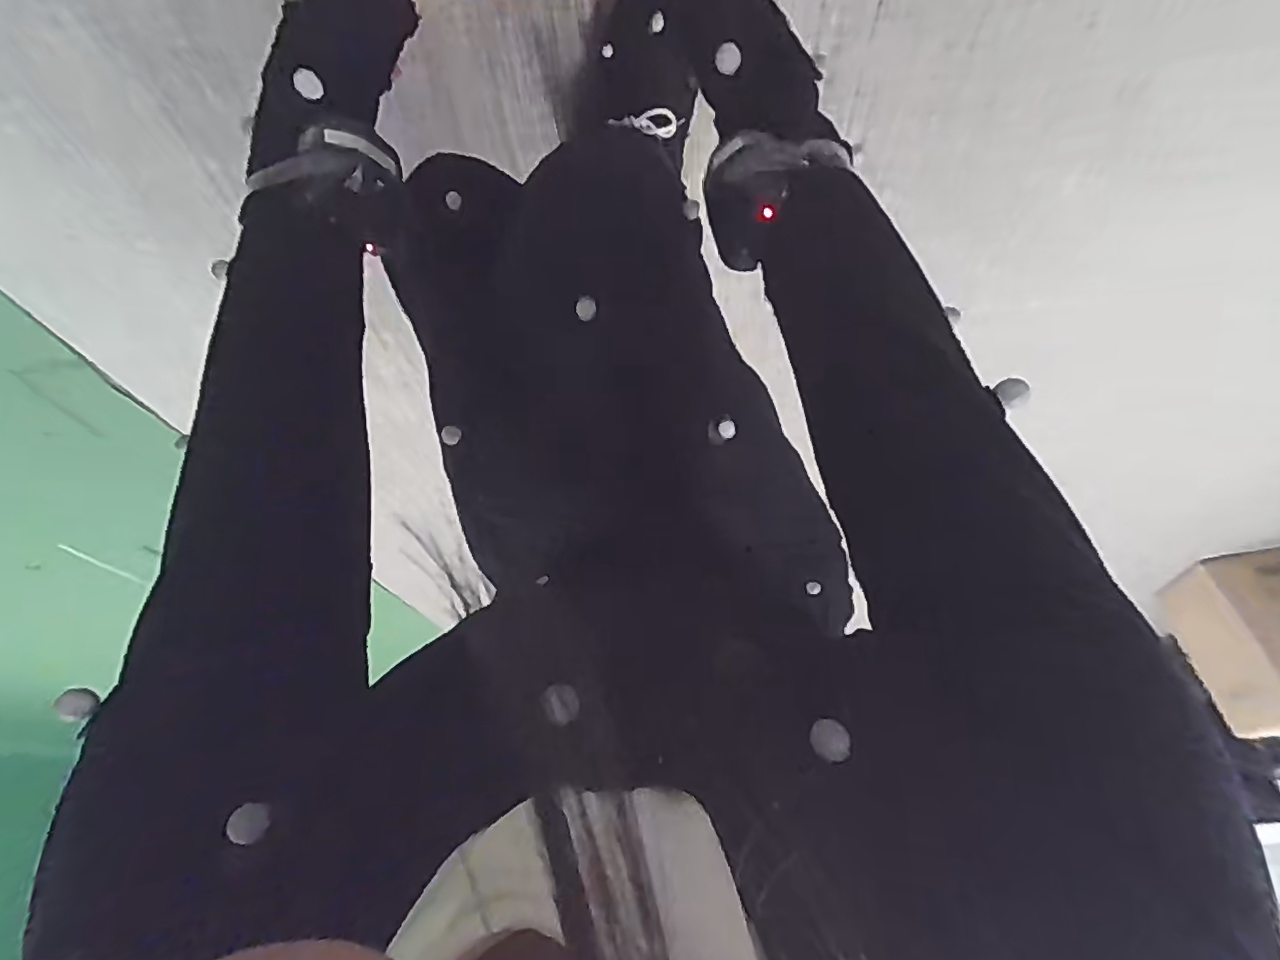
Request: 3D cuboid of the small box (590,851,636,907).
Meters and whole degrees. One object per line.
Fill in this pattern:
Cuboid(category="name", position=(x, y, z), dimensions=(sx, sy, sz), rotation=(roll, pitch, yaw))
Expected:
Cuboid(category="small box", position=(-0.108, 1.623, 2.208), dimensions=(0.179, 0.176, 0.168), rotation=(-5, 150, 2))

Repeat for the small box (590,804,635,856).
Cuboid(category="small box", position=(-0.116, 1.484, 2.295), dimensions=(0.179, 0.176, 0.168), rotation=(-7, 151, 2))
